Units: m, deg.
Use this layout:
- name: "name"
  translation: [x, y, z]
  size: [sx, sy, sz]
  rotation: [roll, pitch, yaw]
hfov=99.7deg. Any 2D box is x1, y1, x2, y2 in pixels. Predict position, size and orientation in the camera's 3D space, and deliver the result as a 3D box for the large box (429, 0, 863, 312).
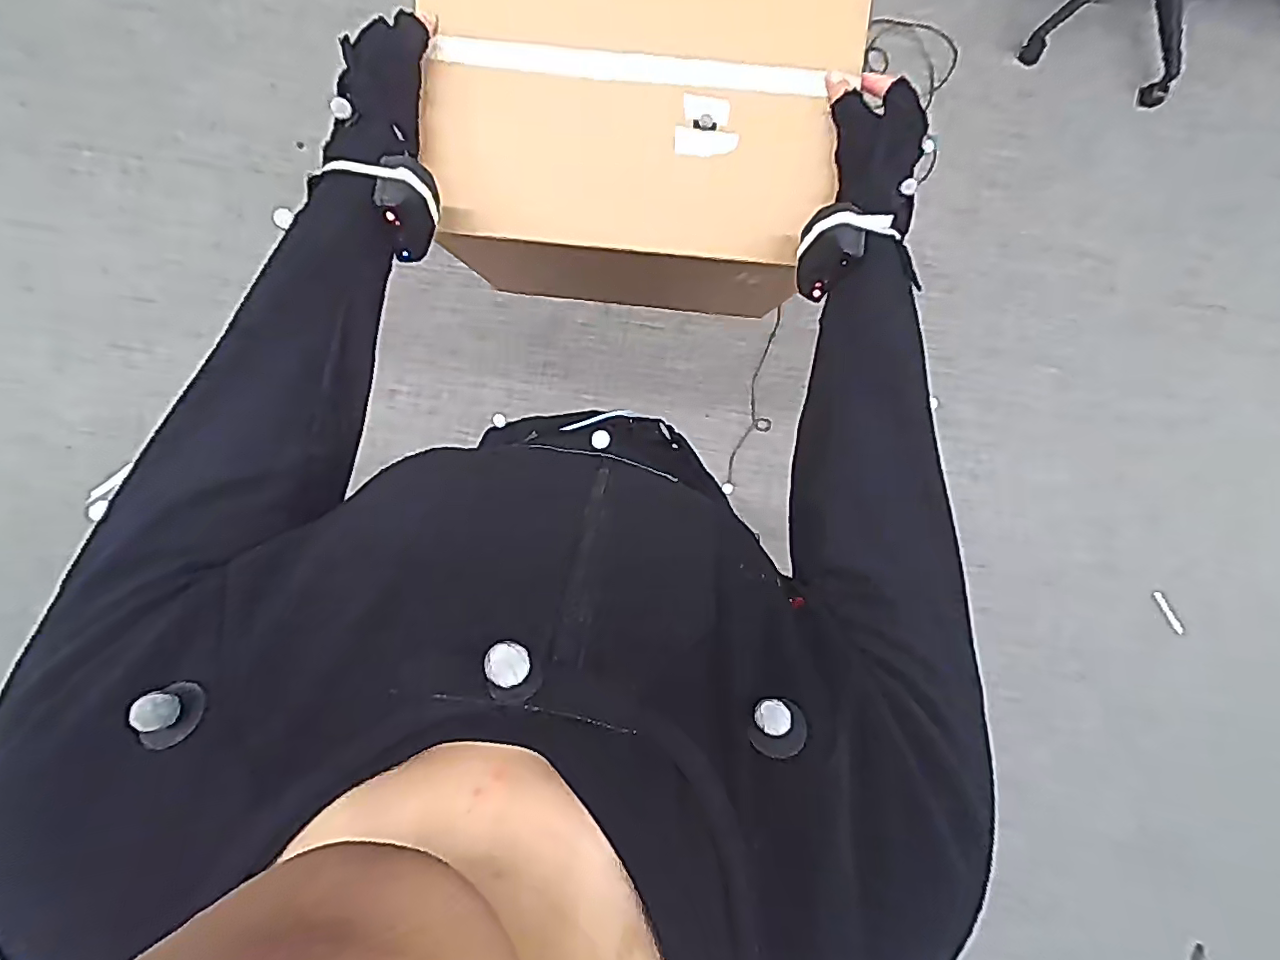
- name: "large box"
  translation: [0.000, -0.399, 0.654]
  size: [0.408, 0.320, 0.320]
  rotation: [5, 99, -1]
